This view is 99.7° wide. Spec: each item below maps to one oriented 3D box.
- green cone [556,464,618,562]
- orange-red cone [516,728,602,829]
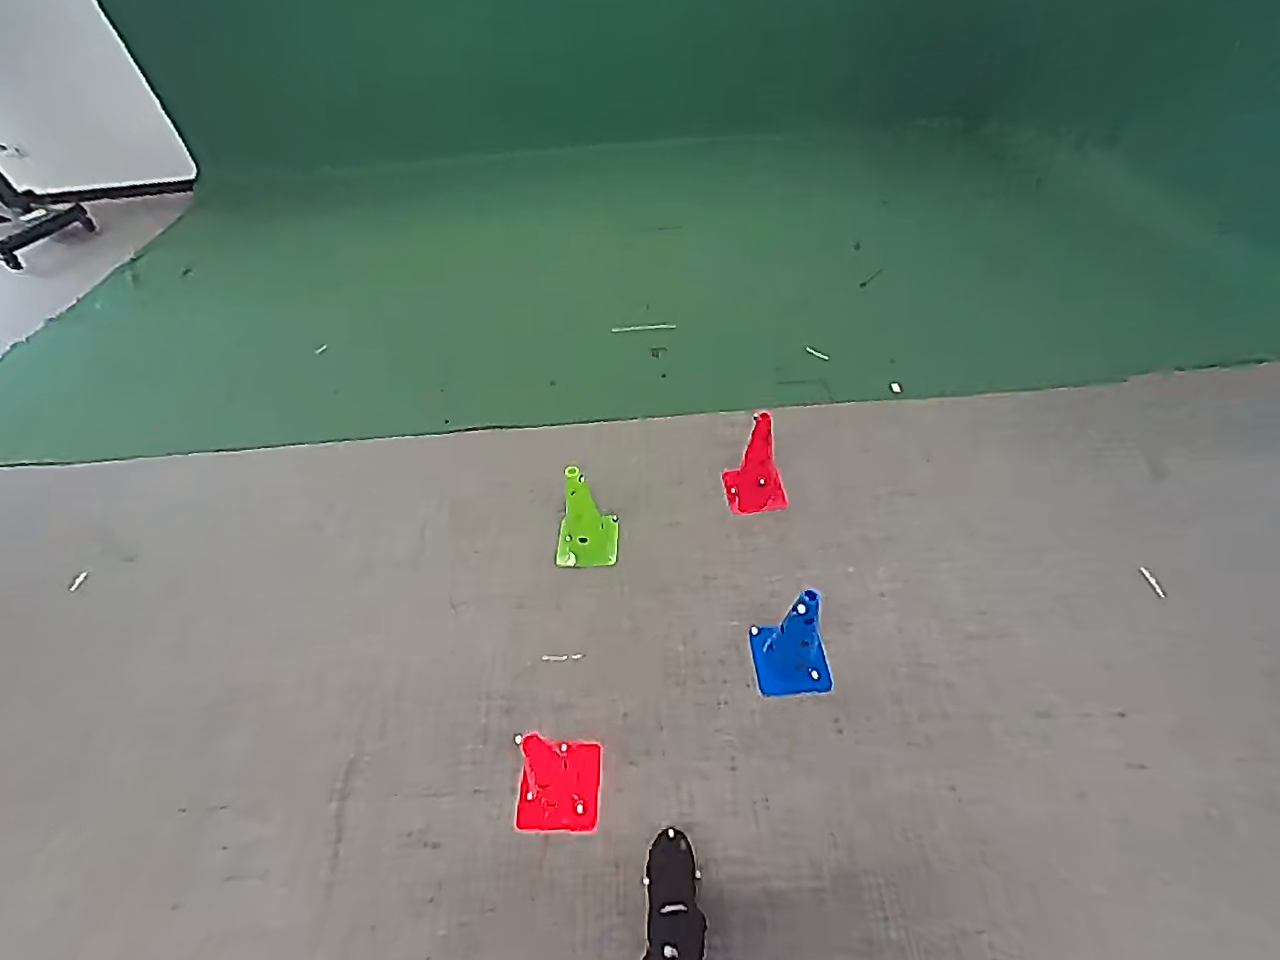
[{"bbox_3d":[-0.189,0.078,1.693,0.200,0.368,0.202,-3,50,3],"label":"green cone"},{"bbox_3d":[-0.205,0.632,1.216,0.198,0.360,0.199,0,47,4],"label":"orange-red cone"}]
